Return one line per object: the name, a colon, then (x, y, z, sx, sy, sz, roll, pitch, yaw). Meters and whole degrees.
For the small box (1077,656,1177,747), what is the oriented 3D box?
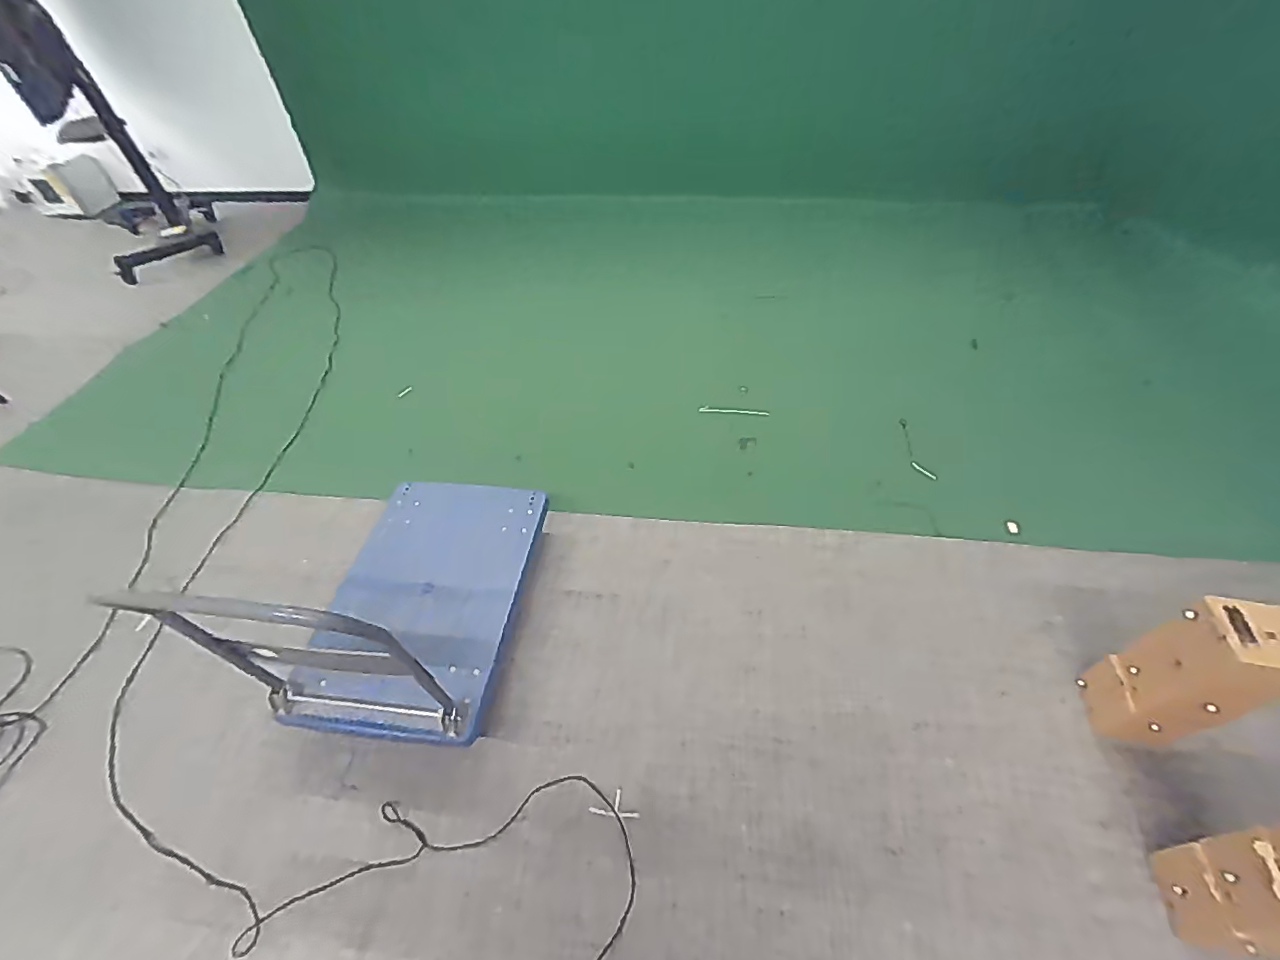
small box: (1.352, 0.613, 1.488, 0.179, 0.176, 0.168, 9, 49, 9)

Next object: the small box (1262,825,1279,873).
small box: (1.284, 0.715, 0.950, 0.168, 0.176, 0.179, 9, 48, 11)

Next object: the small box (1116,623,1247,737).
small box: (1.366, 0.508, 1.374, 0.168, 0.176, 0.179, 34, 56, 31)

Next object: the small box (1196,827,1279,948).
small box: (1.291, 0.821, 1.074, 0.179, 0.176, 0.168, 9, 48, 11)

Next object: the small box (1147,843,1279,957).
small box: (1.285, 0.931, 1.196, 0.179, 0.176, 0.168, 6, 48, 8)
